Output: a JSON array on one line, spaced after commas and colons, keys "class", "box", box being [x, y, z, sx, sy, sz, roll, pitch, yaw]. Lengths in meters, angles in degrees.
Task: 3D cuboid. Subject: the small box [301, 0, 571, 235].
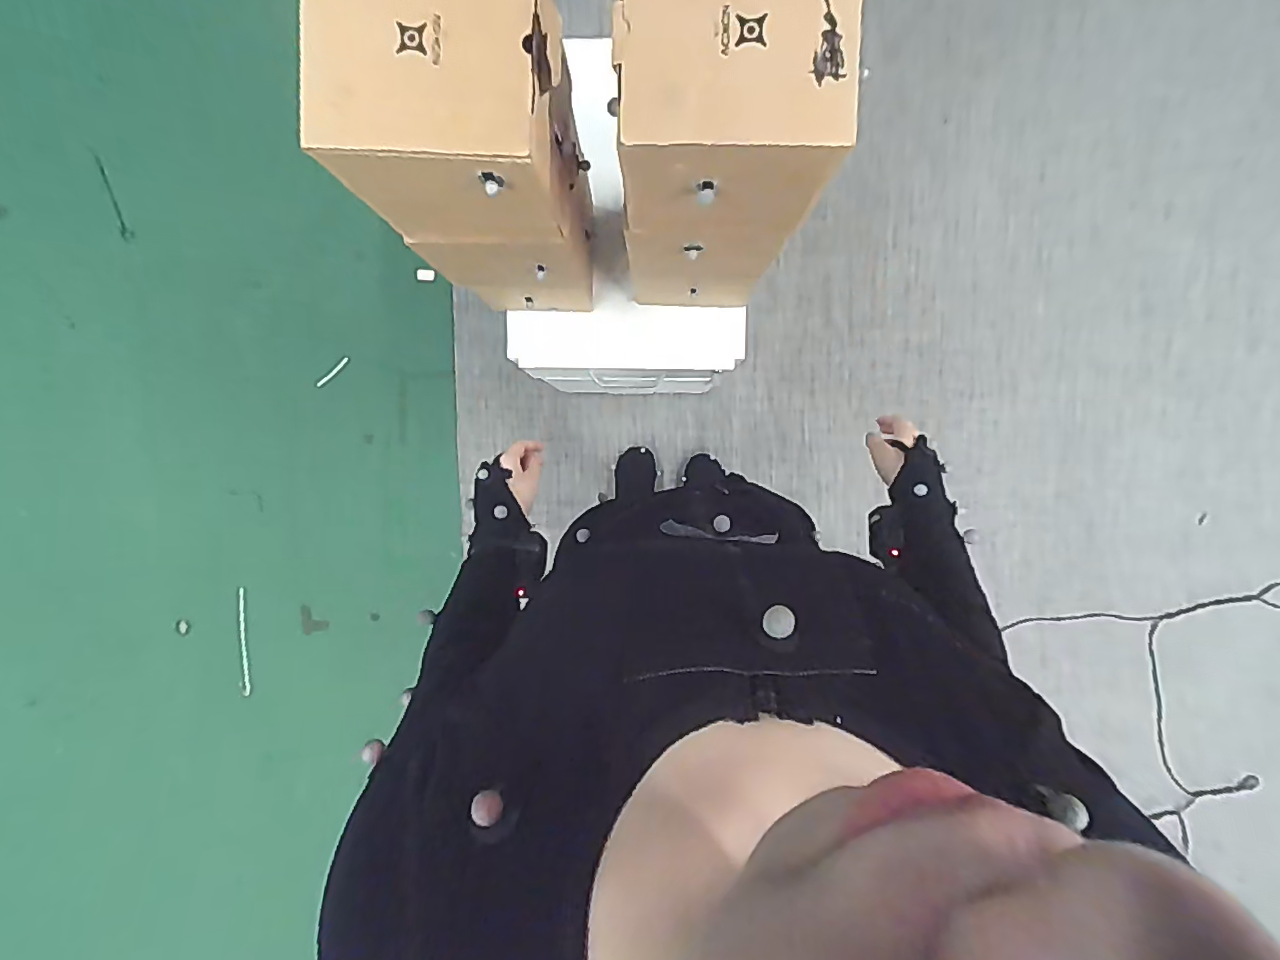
[{"class": "small box", "box": [-0.161, -0.331, 0.475, 0.179, 0.176, 0.168, 2, 93, -1]}]

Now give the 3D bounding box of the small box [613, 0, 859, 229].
[{"class": "small box", "box": [0.075, -0.332, 0.469, 0.179, 0.176, 0.168, 1, 94, 3]}]

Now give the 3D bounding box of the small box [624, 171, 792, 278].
[{"class": "small box", "box": [0.077, -0.345, 0.632, 0.179, 0.176, 0.168, 2, 94, 2]}]

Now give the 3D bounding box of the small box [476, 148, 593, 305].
[{"class": "small box", "box": [-0.157, -0.364, 0.799, 0.168, 0.176, 0.179, 1, 94, -1]}]

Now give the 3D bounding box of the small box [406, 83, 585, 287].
[{"class": "small box", "box": [-0.158, -0.336, 0.639, 0.179, 0.176, 0.168, 0, 93, 1]}]
